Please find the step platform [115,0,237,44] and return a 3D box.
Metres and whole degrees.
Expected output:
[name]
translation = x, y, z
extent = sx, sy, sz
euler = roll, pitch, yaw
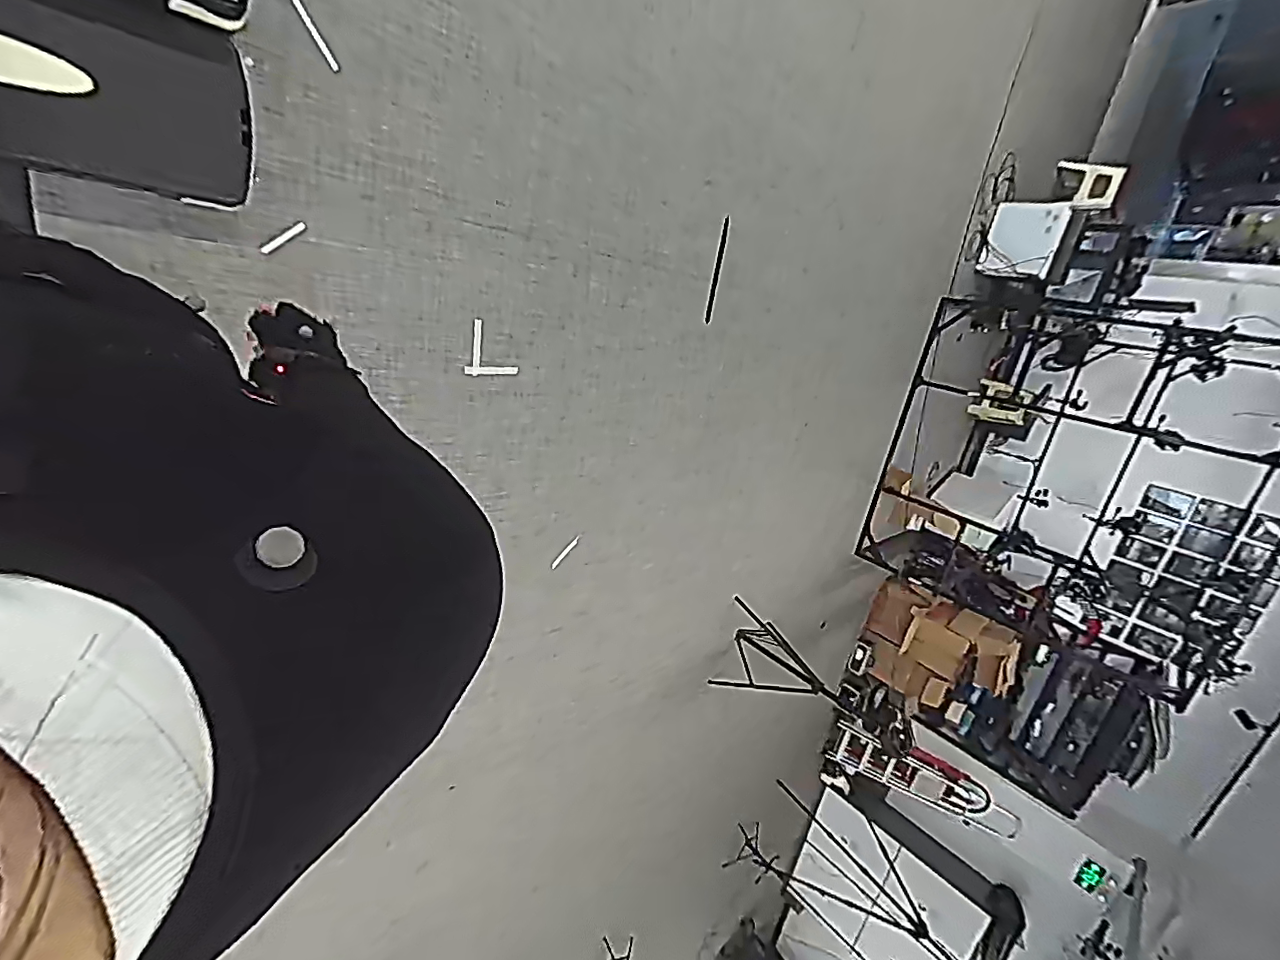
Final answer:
[step platform]
translation = -0.921, -0.848, 0.670
extent = 0.684, 0.204, 0.286
euler = -10, 118, -45
